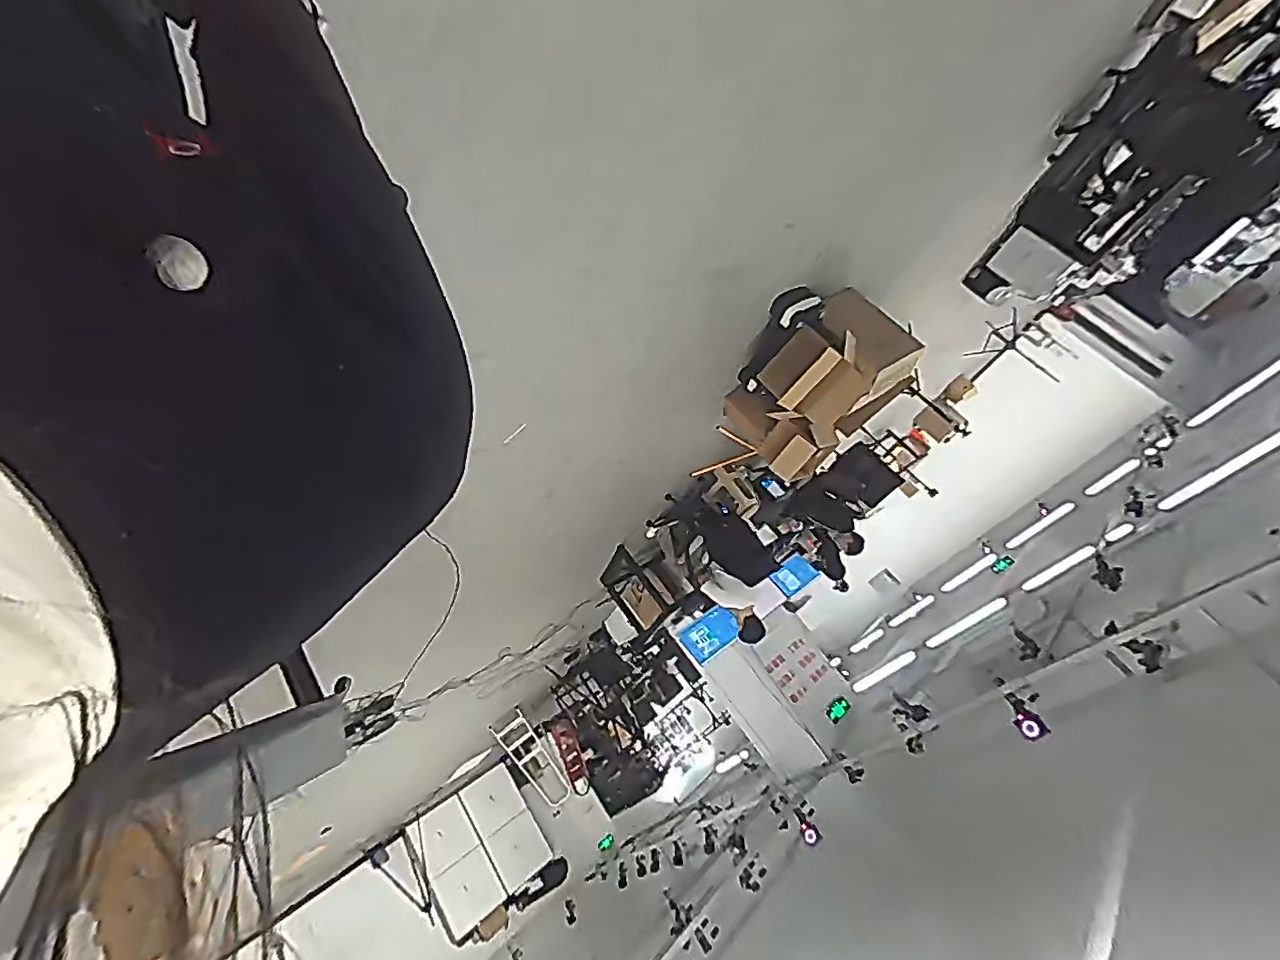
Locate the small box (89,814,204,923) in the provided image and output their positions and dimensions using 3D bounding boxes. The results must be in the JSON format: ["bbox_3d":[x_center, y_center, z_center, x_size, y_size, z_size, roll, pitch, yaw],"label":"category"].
[{"bbox_3d":[-1.314,1.037,1.446,0.179,0.176,0.168,-22,151,-38],"label":"small box"}]

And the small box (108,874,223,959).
[{"bbox_3d":[-1.218,1.157,1.390,0.168,0.176,0.179,-24,153,-37],"label":"small box"}]
